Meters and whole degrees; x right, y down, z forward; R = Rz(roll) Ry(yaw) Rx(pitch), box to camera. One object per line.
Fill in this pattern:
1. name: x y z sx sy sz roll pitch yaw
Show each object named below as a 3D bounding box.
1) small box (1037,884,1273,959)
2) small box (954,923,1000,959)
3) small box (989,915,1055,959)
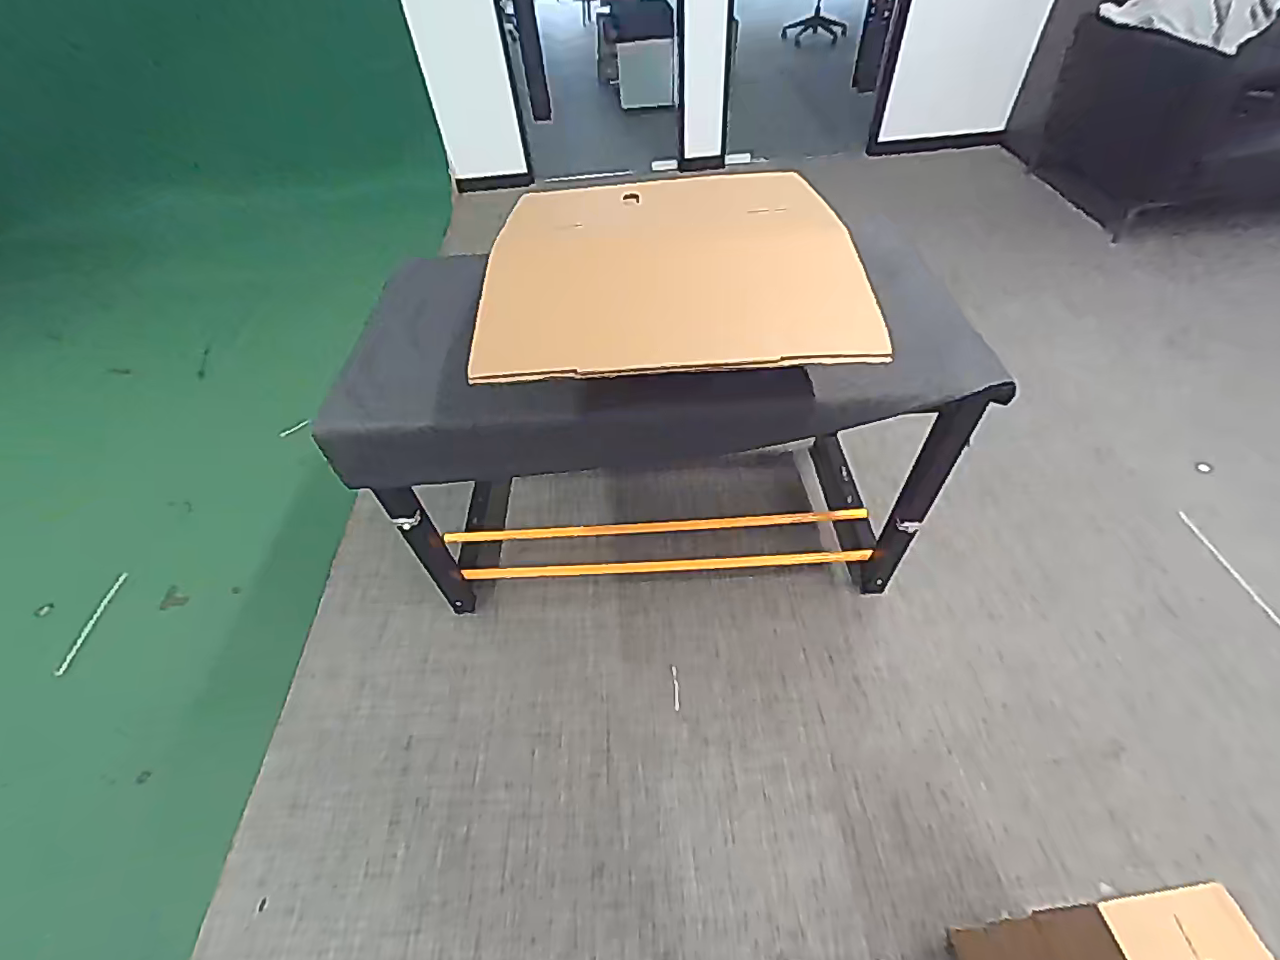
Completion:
1. small box: 0.650 0.624 0.666 0.168 0.176 0.179 -8 47 -2
2. small box: 0.667 0.850 0.902 0.168 0.176 0.179 -8 48 -2
3. small box: 0.662 0.735 0.787 0.179 0.176 0.168 -9 48 -2
